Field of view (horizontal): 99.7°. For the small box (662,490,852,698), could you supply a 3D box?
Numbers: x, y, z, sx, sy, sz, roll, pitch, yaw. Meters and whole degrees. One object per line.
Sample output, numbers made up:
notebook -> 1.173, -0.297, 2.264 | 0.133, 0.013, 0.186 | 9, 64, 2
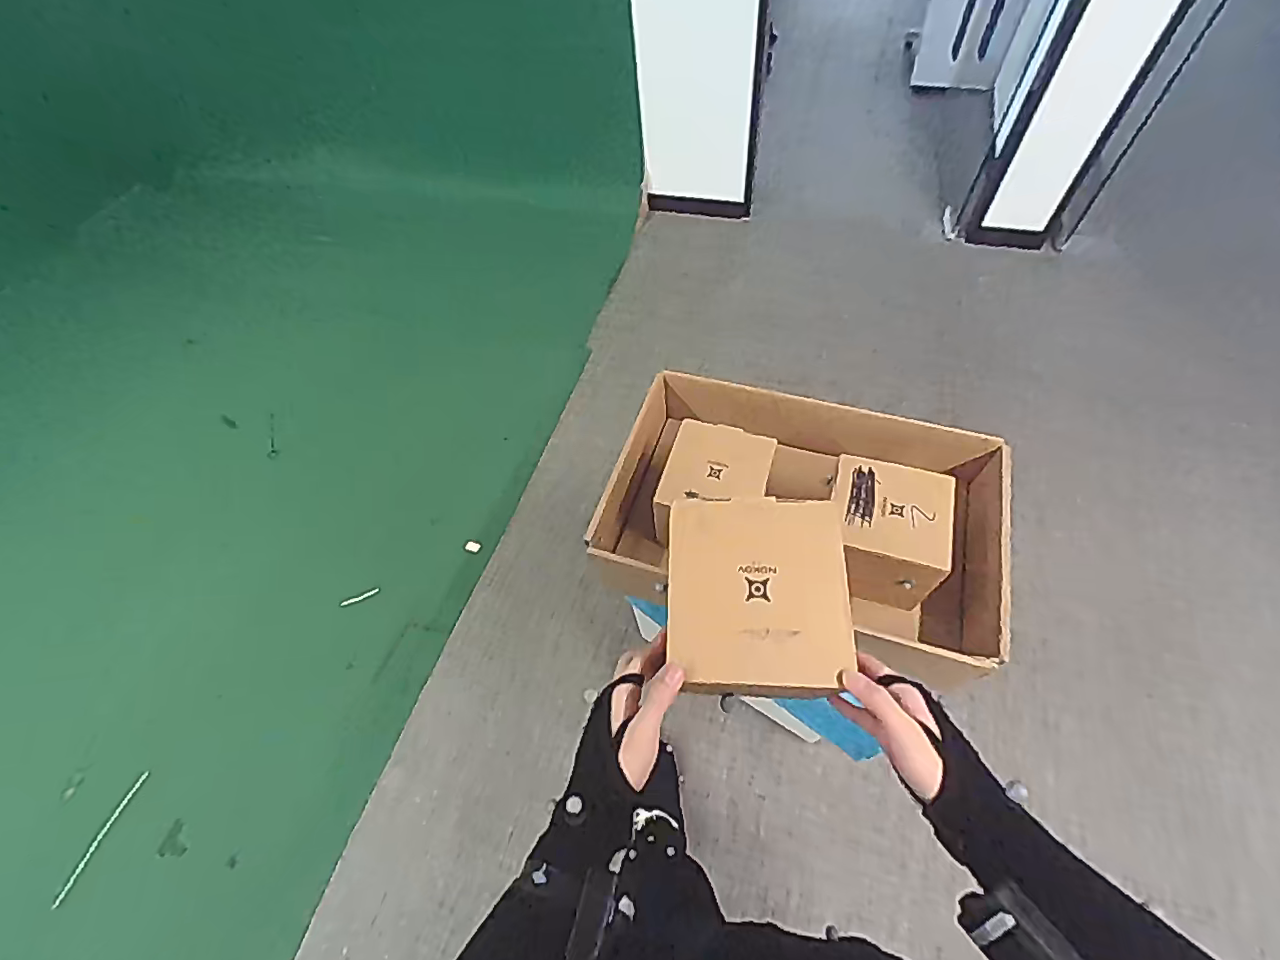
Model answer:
small box -> 0.110, 0.126, 0.572 | 0.168, 0.176, 0.179 | 2, 65, 5

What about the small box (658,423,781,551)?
small box -> 0.137, 0.032, 0.943 | 0.168, 0.176, 0.179 | 14, 59, 15
